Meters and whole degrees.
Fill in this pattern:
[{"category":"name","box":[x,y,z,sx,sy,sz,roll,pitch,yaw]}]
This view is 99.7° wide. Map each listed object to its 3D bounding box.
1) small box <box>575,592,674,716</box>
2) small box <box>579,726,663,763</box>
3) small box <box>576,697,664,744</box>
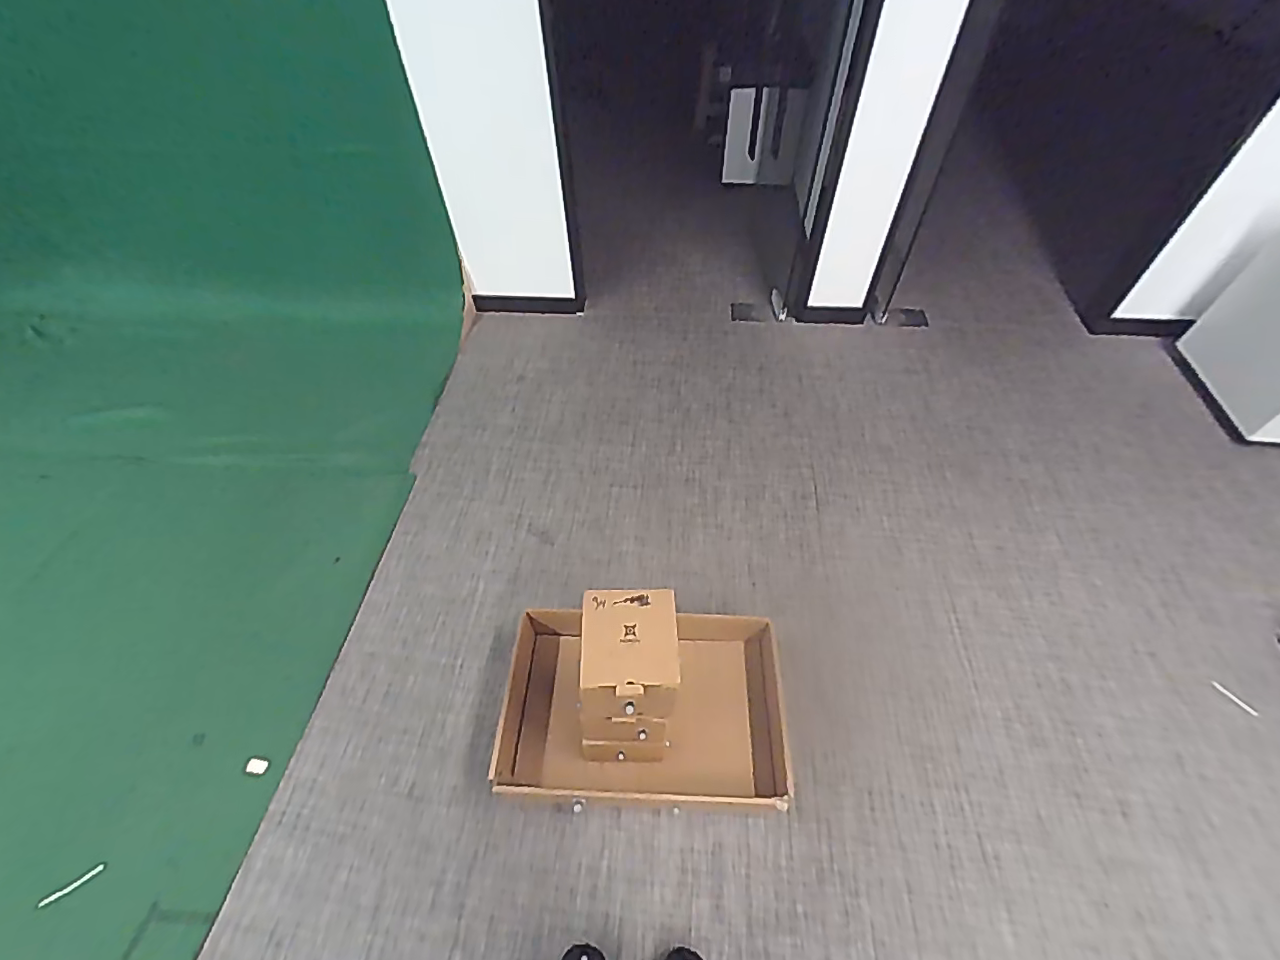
[{"category":"small box","box":[-0.023,0.320,0.985,0.168,0.176,0.179,1,52,-1]},{"category":"small box","box":[-0.037,0.535,1.228,0.179,0.176,0.168,0,51,2]},{"category":"small box","box":[-0.033,0.427,1.109,0.168,0.176,0.179,3,50,0]}]
